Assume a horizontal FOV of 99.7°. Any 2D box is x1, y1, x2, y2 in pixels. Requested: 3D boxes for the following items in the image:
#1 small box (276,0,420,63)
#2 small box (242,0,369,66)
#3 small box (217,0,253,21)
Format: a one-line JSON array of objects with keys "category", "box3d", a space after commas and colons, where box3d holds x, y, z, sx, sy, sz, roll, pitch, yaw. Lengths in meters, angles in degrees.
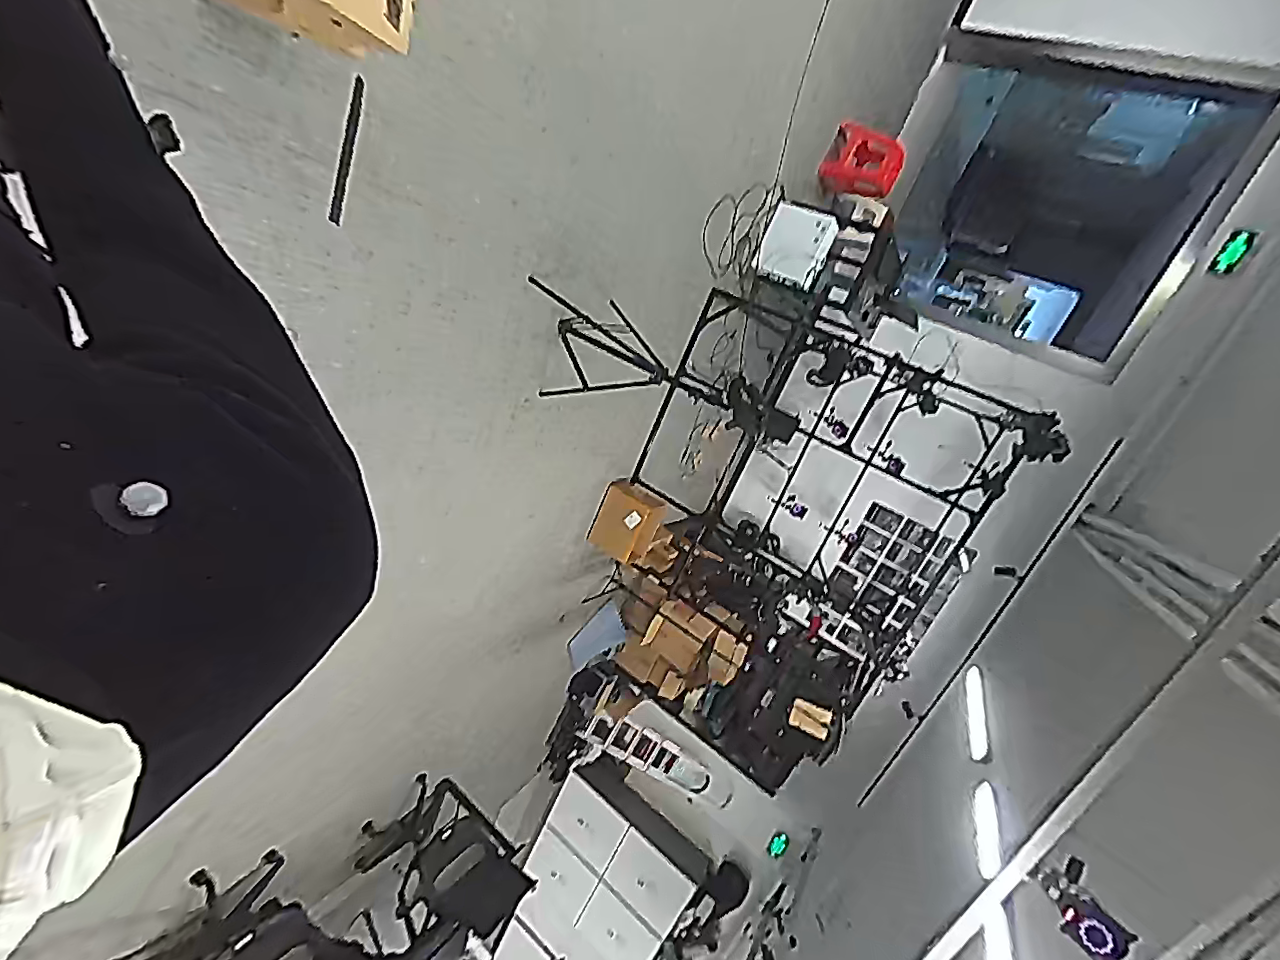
[{"category": "small box", "box3d": [-0.521, -0.894, 0.964, 0.179, 0.176, 0.168, -10, 125, -59]}, {"category": "small box", "box3d": [-0.645, -0.958, 1.055, 0.168, 0.176, 0.179, -16, 131, -57]}, {"category": "small box", "box3d": [-0.771, -1.046, 1.114, 0.179, 0.176, 0.168, -14, 130, -58]}]
